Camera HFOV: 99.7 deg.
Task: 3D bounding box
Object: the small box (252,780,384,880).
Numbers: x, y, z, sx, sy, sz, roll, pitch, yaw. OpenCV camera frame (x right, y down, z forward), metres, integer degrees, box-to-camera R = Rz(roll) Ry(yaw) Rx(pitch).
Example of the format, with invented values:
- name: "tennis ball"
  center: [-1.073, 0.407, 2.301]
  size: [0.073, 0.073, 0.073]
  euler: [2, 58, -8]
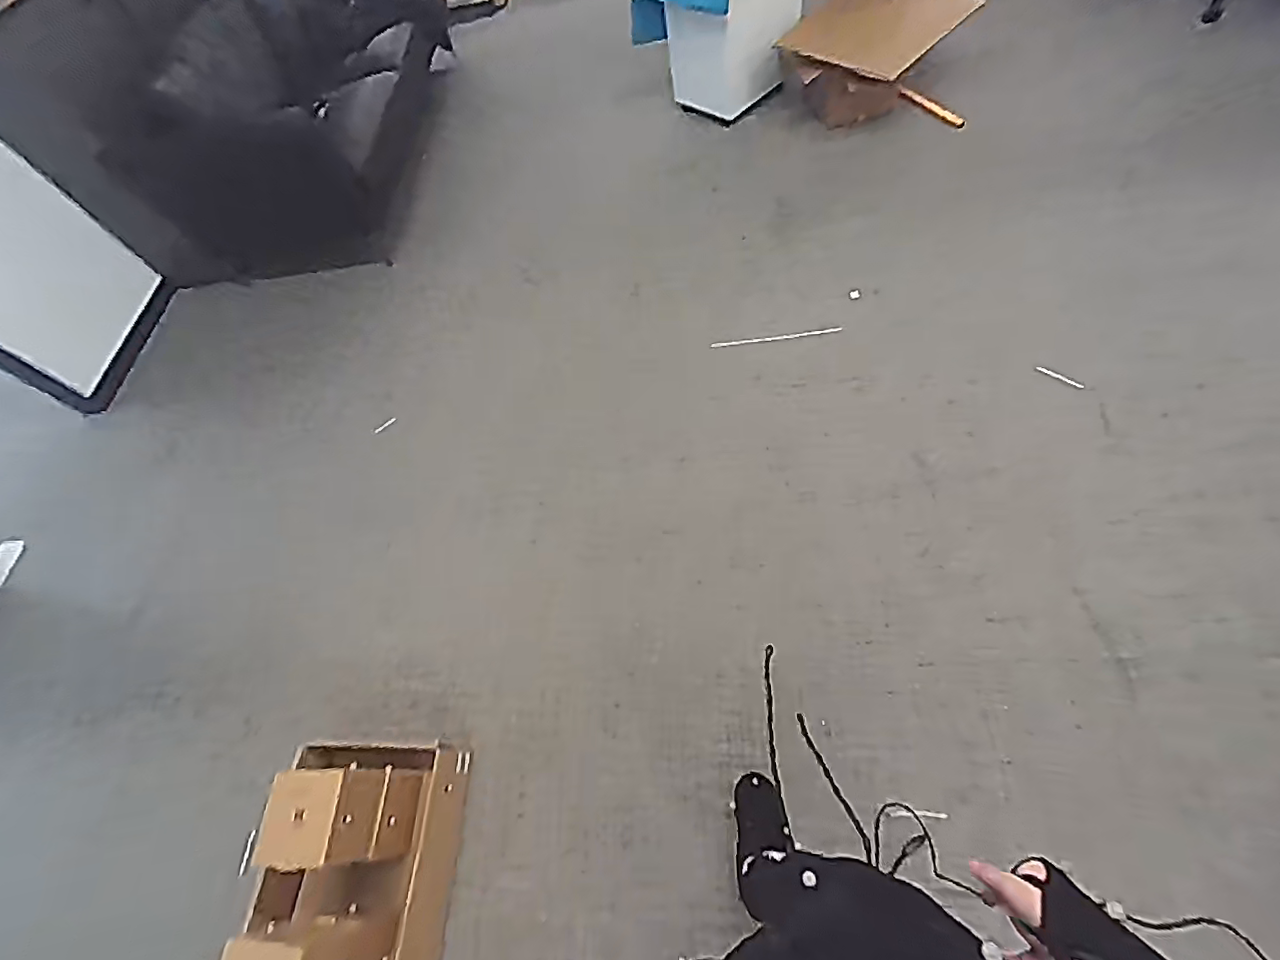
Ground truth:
- name: "small box"
  center: [-0.699, 0.767, 1.200]
  size: [0.168, 0.176, 0.179]
  euler: [-4, 60, 8]
